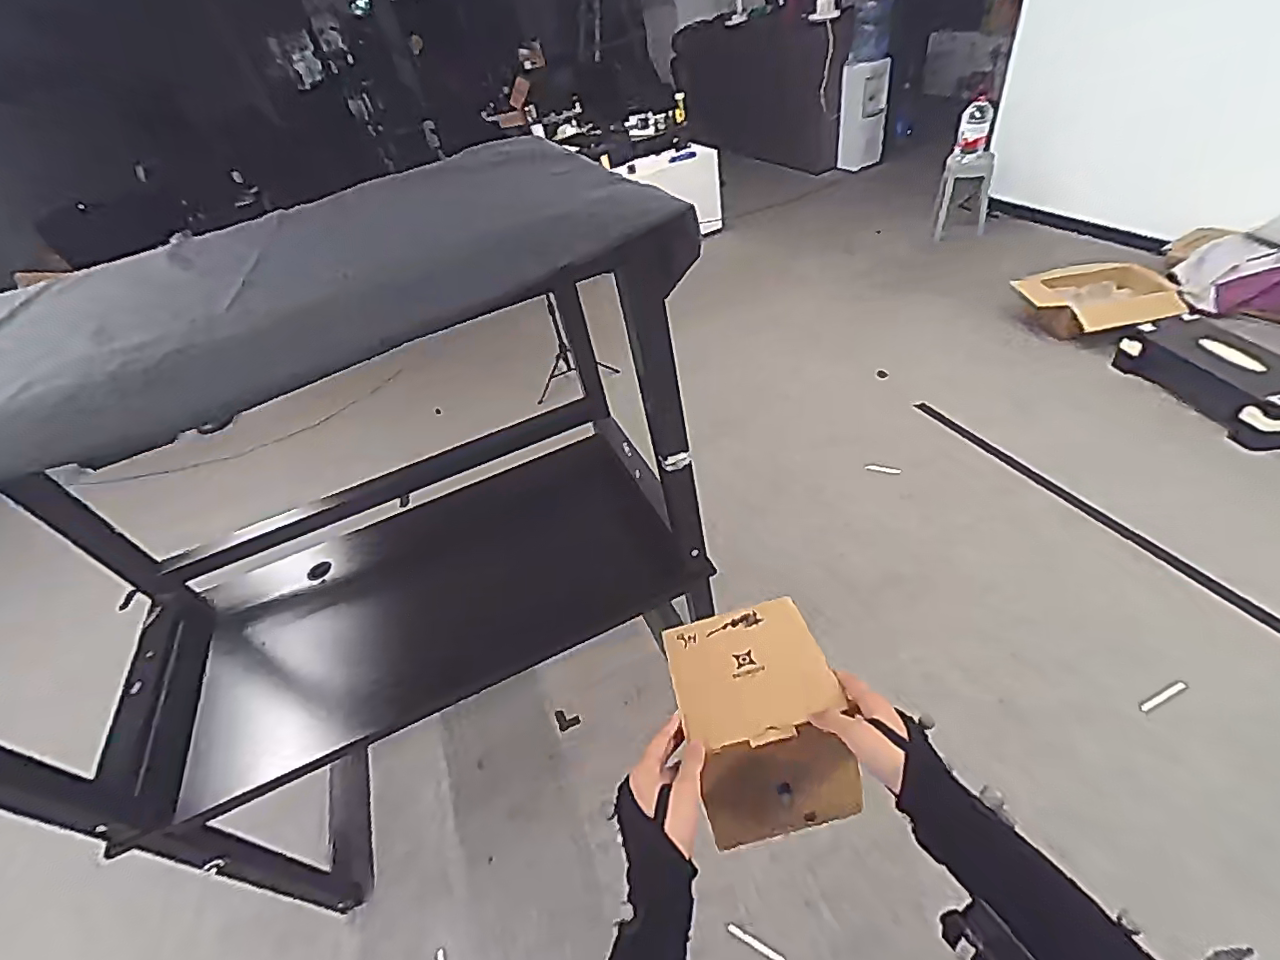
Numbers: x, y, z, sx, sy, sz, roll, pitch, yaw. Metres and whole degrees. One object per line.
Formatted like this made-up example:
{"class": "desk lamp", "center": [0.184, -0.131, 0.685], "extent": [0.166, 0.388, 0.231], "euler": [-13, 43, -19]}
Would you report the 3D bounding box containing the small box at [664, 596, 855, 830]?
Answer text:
{"class": "small box", "center": [0.135, 0.271, 0.627], "extent": [0.168, 0.176, 0.179], "euler": [-15, 28, 1]}
